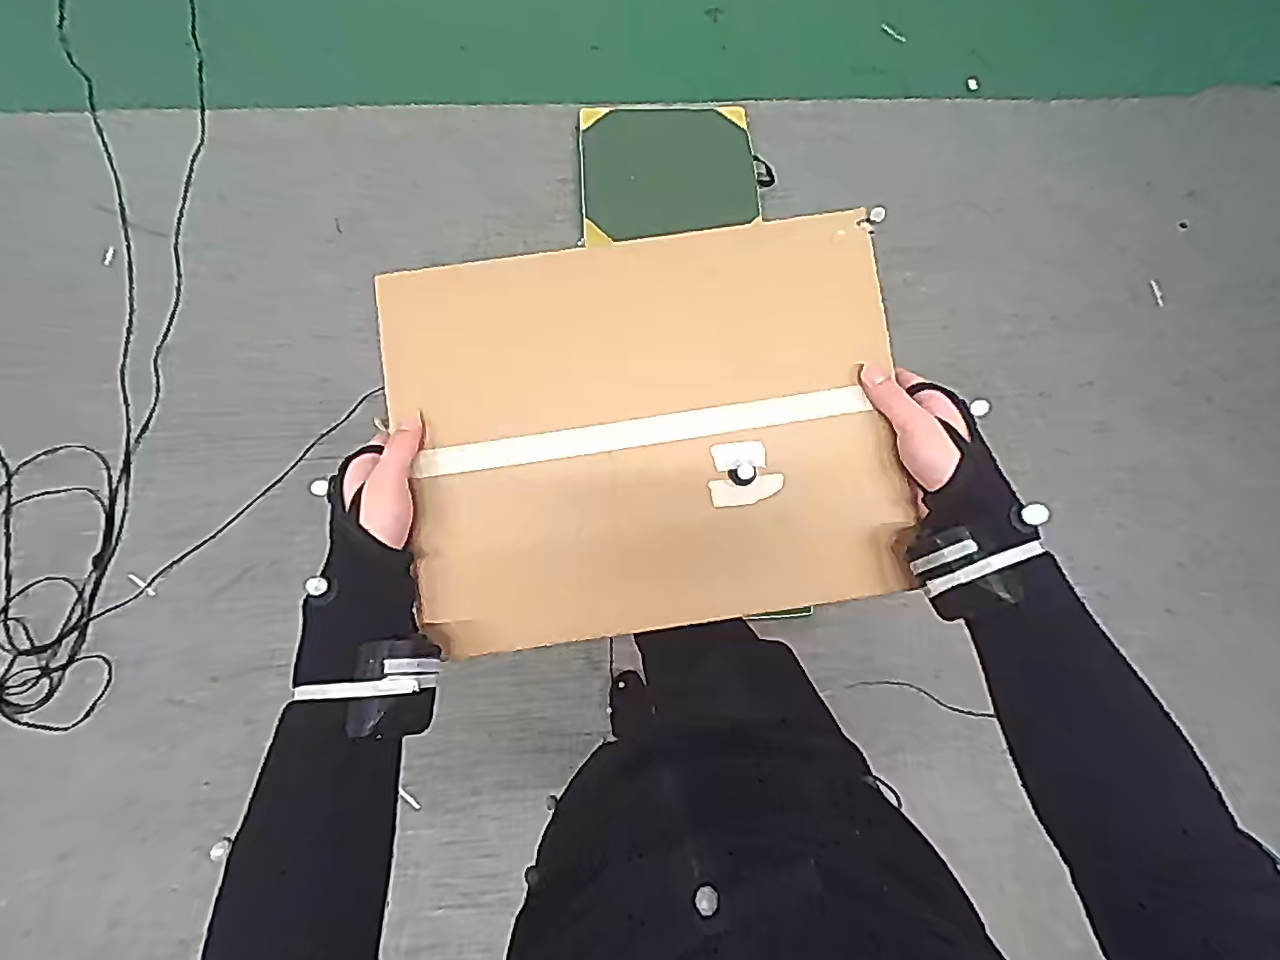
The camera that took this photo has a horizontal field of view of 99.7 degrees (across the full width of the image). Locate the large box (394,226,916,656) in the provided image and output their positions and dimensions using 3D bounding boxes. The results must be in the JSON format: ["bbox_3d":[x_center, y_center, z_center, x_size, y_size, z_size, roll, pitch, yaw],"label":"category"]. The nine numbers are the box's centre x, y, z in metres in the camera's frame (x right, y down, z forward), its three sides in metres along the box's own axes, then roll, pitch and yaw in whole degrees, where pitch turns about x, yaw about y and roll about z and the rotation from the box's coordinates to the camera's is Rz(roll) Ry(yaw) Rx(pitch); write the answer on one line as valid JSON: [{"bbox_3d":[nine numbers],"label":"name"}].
[{"bbox_3d":[0.007,-0.028,0.598,0.408,0.320,0.320,-9,87,-2],"label":"large box"}]
